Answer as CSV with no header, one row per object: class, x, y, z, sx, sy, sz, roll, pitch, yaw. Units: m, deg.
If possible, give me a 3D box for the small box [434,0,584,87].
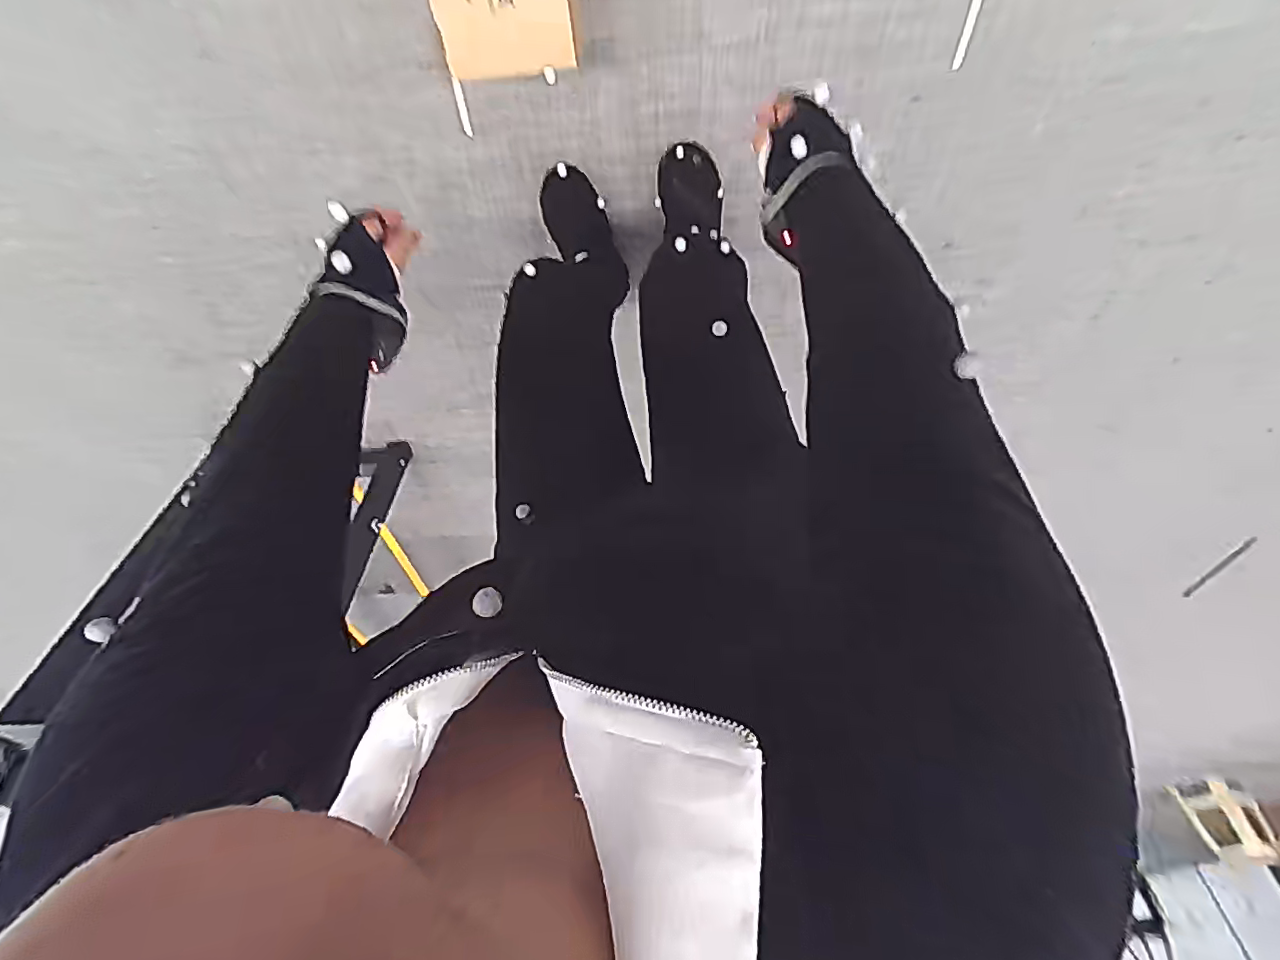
small box,-0.175,-0.664,0.742,0.179,0.176,0.168,-2,136,4
